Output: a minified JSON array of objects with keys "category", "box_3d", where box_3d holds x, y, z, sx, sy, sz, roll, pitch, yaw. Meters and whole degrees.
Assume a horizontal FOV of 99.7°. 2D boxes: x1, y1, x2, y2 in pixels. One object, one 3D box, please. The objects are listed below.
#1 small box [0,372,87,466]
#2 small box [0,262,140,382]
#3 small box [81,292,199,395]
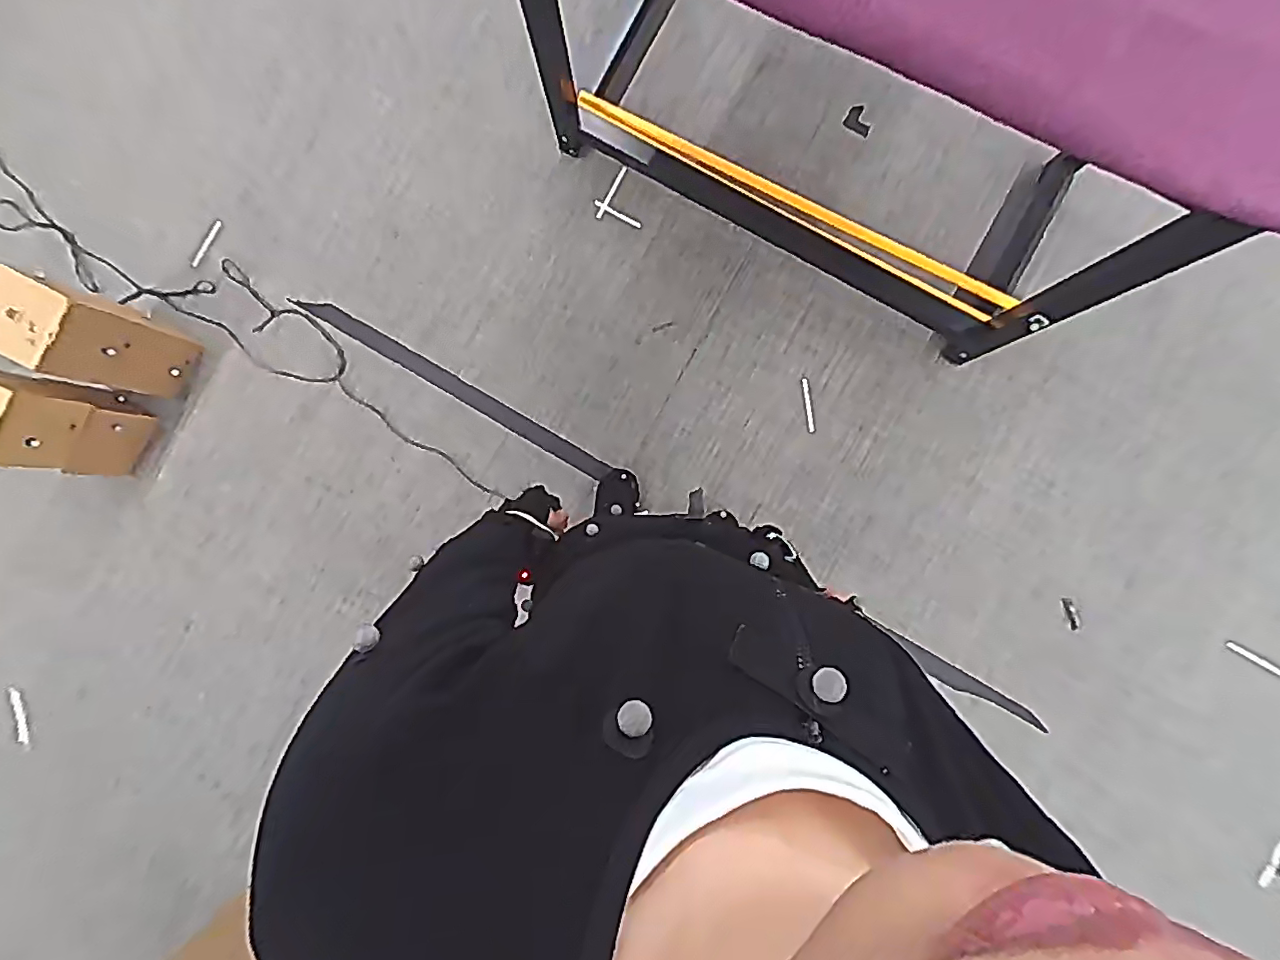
[{"category":"small box","box_3d":[-1.375,-0.136,1.166,0.179,0.176,0.168,24,89,2]},{"category":"small box","box_3d":[-1.261,-0.329,1.165,0.179,0.176,0.168,27,90,1]},{"category":"small box","box_3d":[-1.260,-0.325,1.330,0.179,0.176,0.168,29,89,0]}]
